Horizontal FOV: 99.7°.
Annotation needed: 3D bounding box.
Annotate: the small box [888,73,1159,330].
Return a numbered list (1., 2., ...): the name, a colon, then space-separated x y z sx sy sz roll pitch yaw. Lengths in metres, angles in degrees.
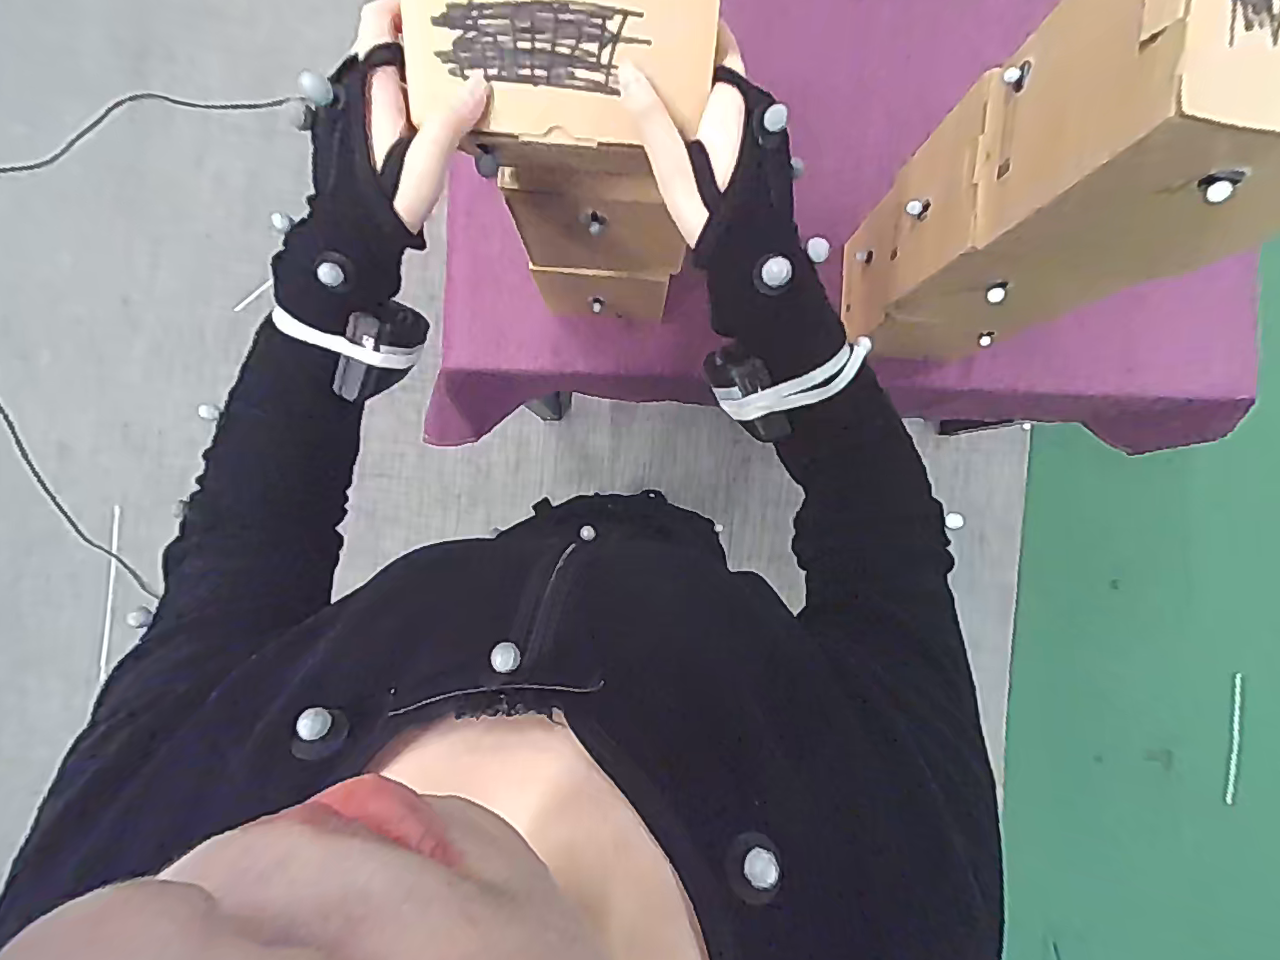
1. small box: 0.379 -0.263 0.551 0.179 0.176 0.168 8 89 0

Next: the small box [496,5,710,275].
1. small box: -0.032 -0.320 0.545 0.179 0.176 0.168 4 90 -1

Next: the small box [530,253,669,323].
1. small box: -0.040 -0.318 0.708 0.168 0.176 0.179 5 89 -1

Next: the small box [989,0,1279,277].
1. small box: 0.391 -0.264 0.387 0.179 0.176 0.168 8 89 -2

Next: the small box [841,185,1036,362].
1. small box: 0.383 -0.260 0.716 0.179 0.176 0.168 4 89 -1
